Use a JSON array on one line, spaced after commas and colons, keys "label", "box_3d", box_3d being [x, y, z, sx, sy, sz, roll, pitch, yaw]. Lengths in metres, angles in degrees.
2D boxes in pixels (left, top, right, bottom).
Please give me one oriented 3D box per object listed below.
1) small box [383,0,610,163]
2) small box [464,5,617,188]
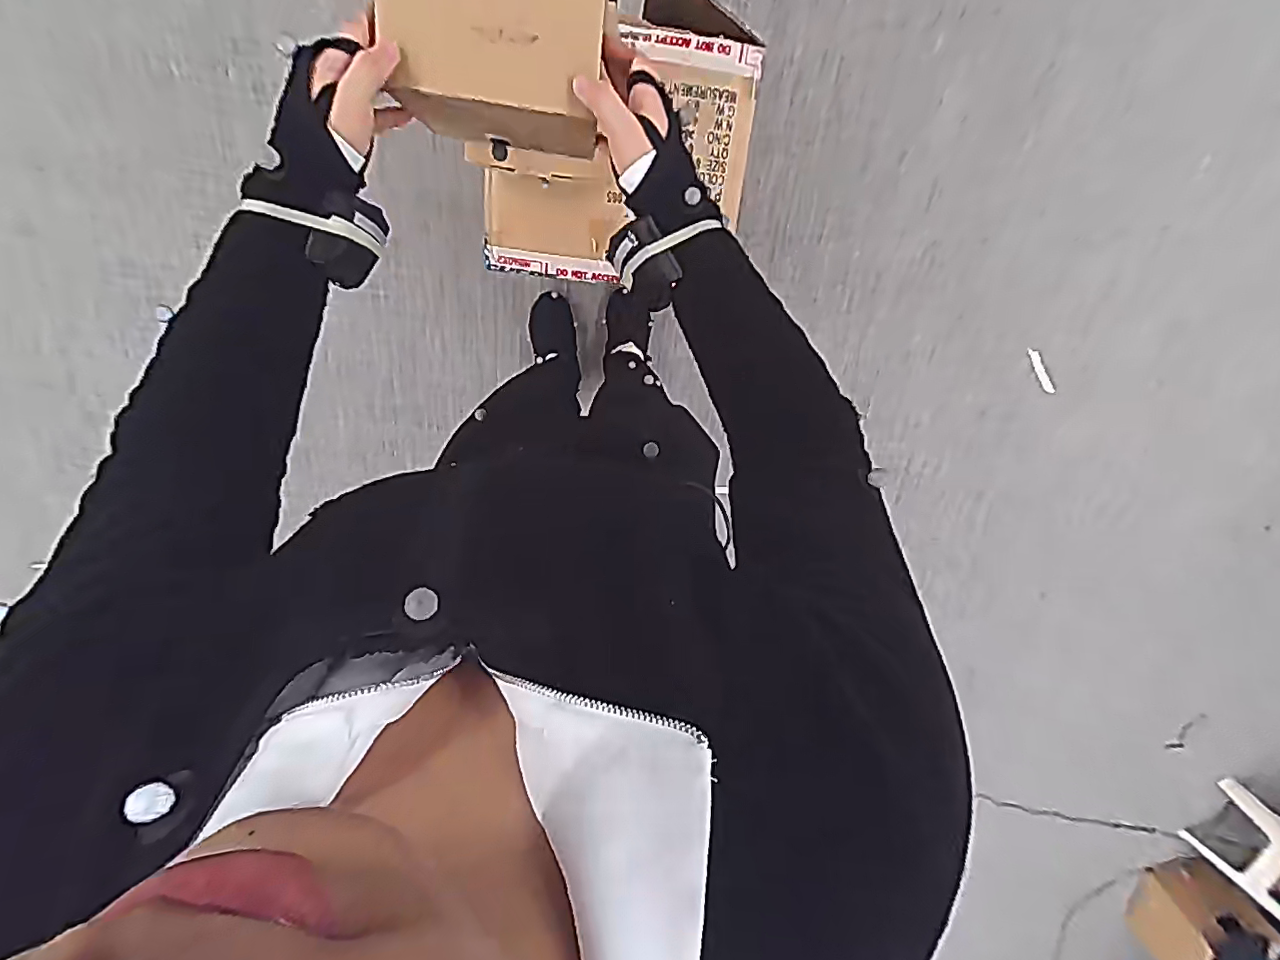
[{"label": "small box", "box_3d": [-0.111, -0.401, 0.471, 0.168, 0.176, 0.179, 4, 110, -6]}, {"label": "small box", "box_3d": [-0.121, -0.486, 0.692, 0.168, 0.176, 0.179, 7, 116, -4]}]
